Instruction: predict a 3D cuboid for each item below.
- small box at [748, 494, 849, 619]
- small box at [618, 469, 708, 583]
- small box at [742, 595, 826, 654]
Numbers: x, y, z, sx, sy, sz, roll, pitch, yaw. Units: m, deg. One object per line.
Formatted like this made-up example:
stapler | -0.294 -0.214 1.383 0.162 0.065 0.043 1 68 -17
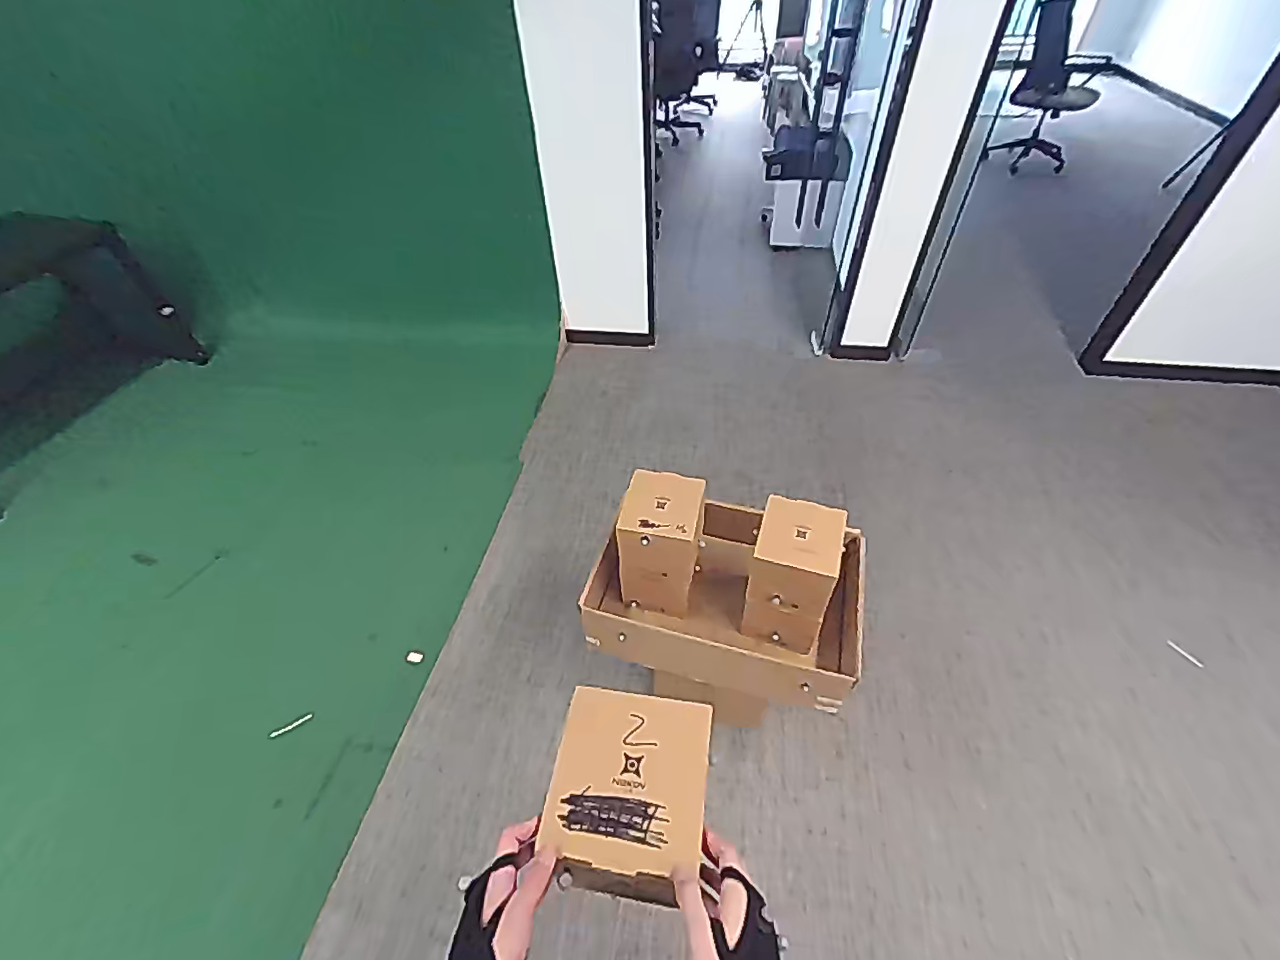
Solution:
small box | 0.332 0.163 1.149 0.168 0.176 0.179 14 49 15
small box | 0.054 0.104 1.215 0.168 0.176 0.179 9 48 11
small box | 0.342 0.274 1.267 0.168 0.176 0.179 14 50 16
